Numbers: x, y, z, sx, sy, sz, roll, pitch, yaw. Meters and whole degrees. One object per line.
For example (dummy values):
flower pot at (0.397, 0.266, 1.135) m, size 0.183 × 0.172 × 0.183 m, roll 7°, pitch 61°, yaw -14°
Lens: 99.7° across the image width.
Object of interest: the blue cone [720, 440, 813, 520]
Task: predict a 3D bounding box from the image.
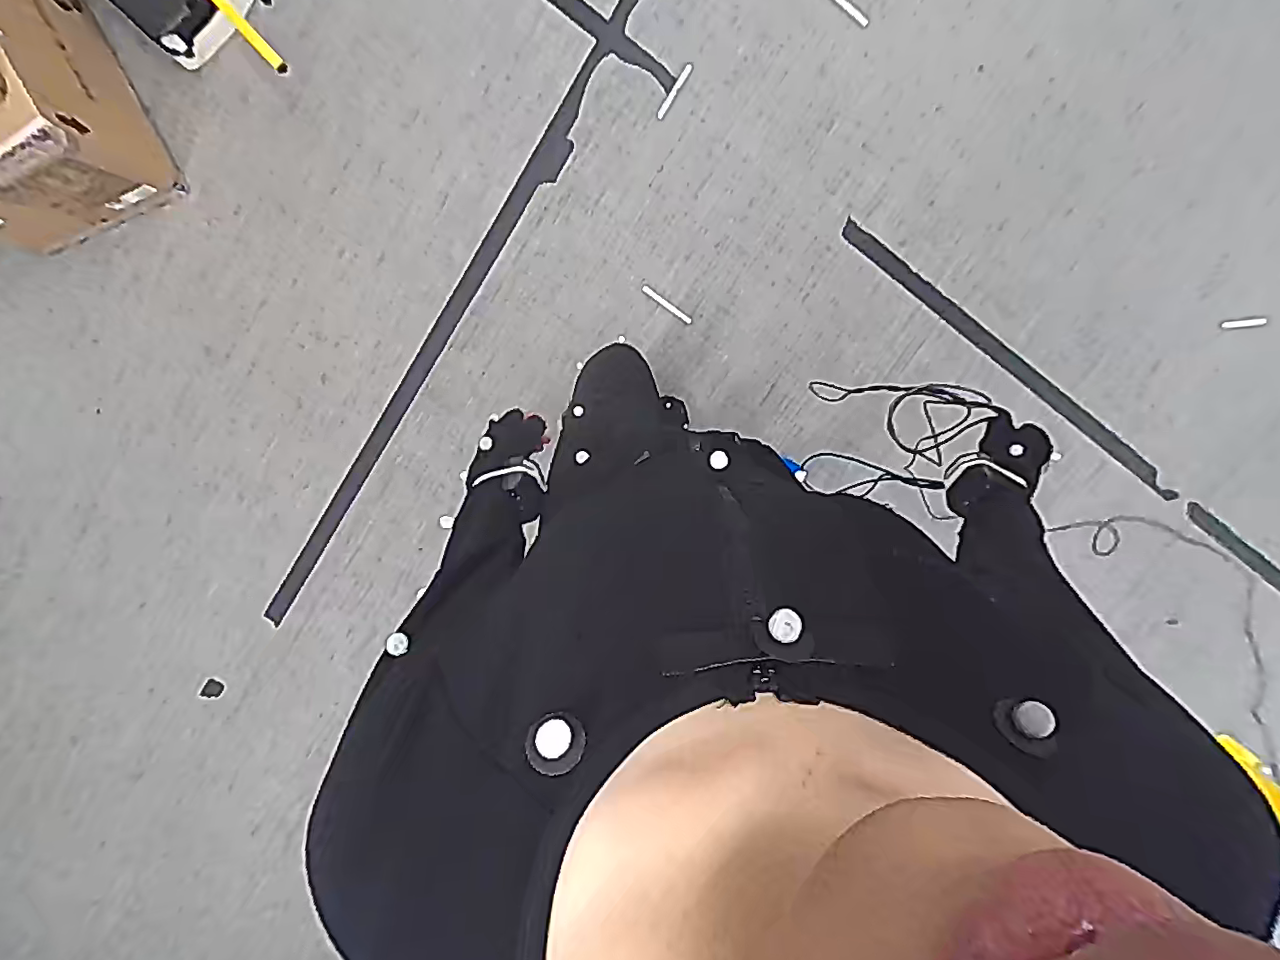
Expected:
blue cone at (0.336, 0.034, 1.314) m, size 0.193 × 0.380 × 0.192 m, roll 29°, pitch 99°, yaw -7°
